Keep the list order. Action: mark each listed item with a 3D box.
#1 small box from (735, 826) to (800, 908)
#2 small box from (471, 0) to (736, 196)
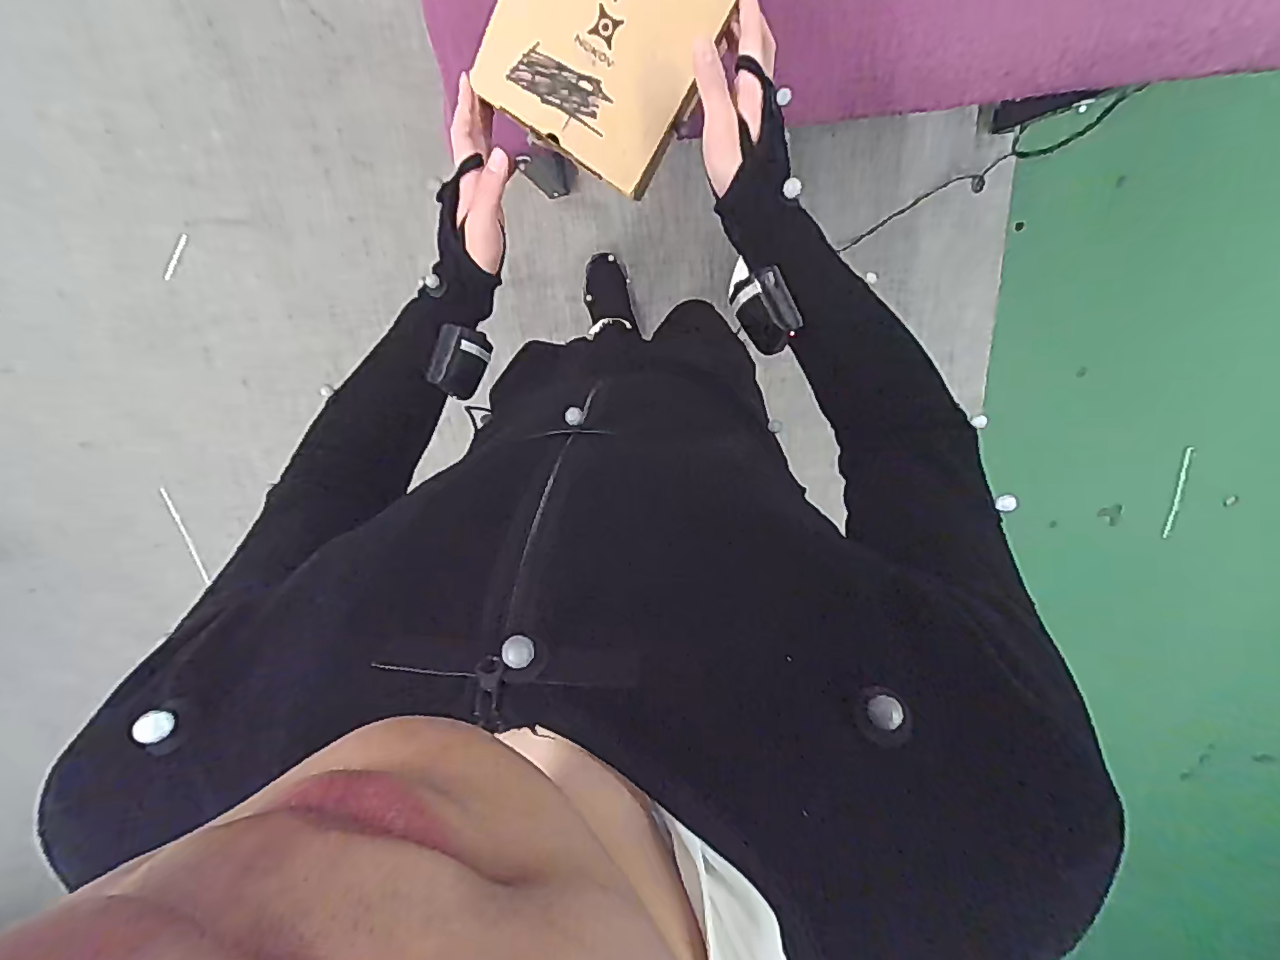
[{"bbox_3d":[0.431,1.329,1.864,0.179,0.176,0.168,5,111,-2],"label":"small box"},{"bbox_3d":[-0.028,-0.396,0.515,0.168,0.176,0.179,30,114,-11],"label":"small box"}]
